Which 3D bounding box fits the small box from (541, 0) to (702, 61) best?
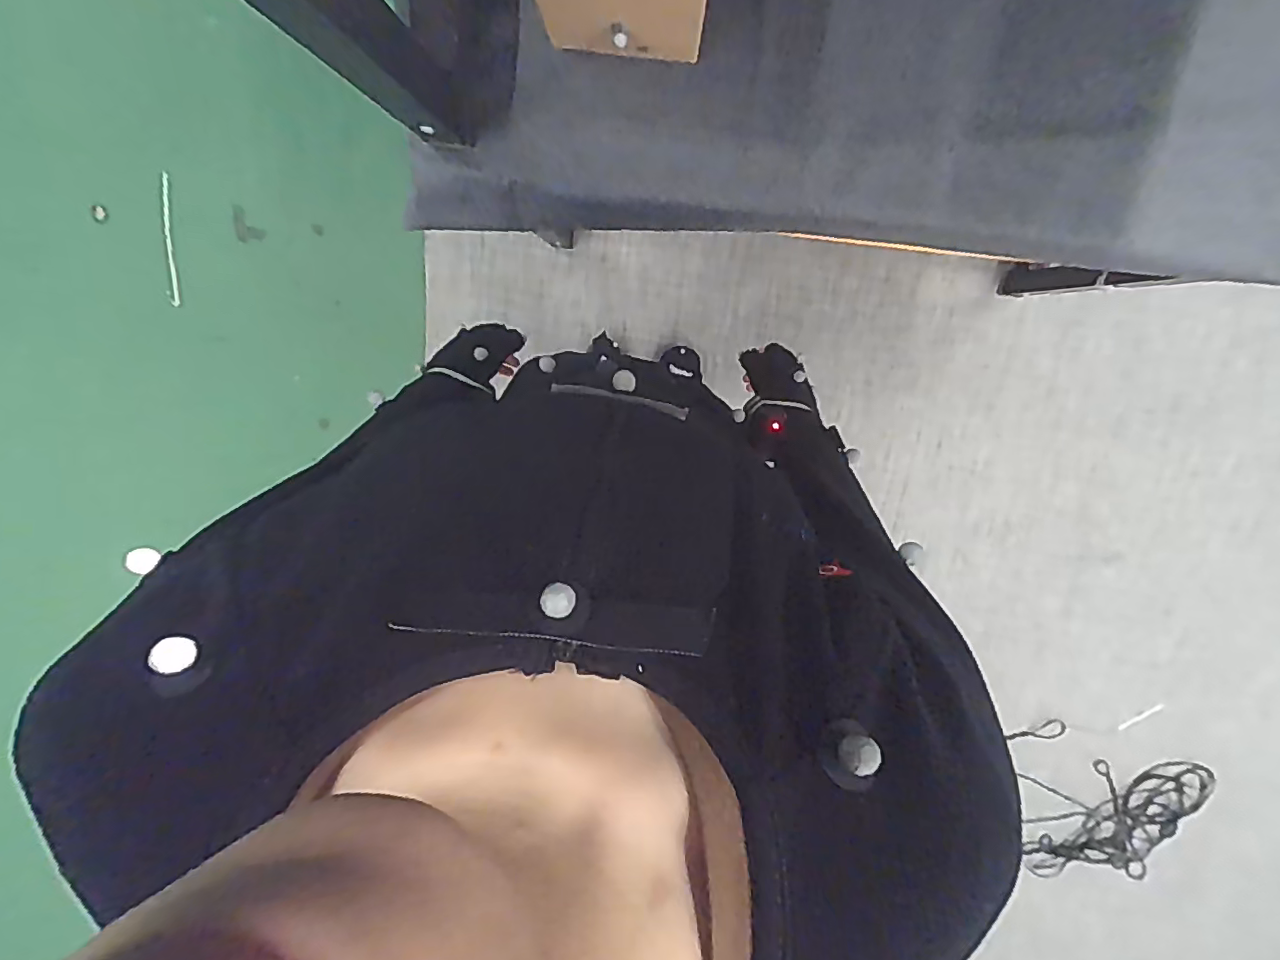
[{"bbox_3d":[-0.014,-0.539,0.503,0.168,0.176,0.179,7,105,1],"label":"small box"}]
